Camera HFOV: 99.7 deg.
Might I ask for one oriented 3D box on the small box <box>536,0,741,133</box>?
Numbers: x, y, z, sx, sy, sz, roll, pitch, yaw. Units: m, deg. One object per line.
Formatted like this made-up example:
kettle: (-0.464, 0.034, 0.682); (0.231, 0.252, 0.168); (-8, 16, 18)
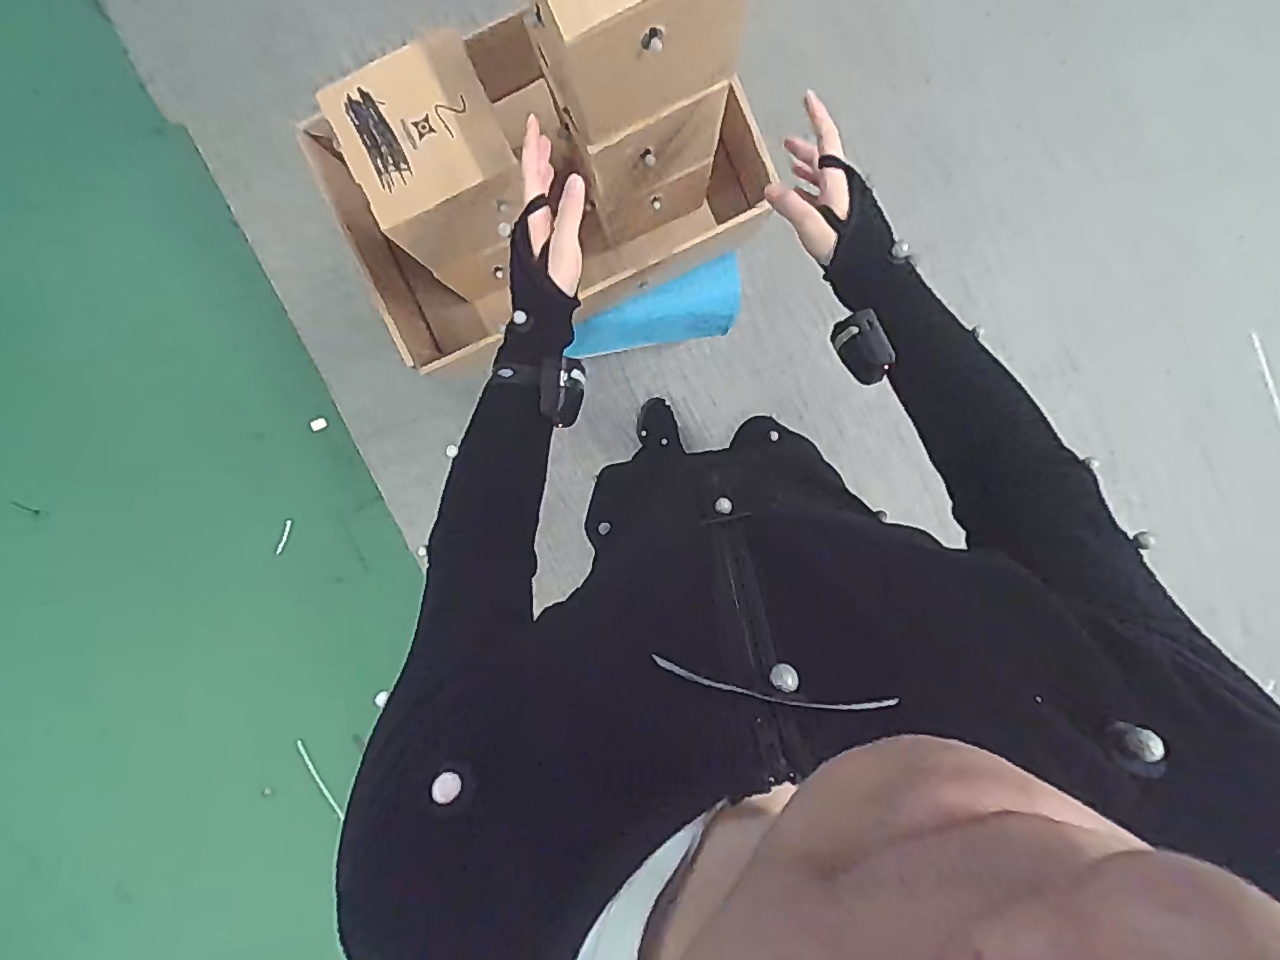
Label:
small box: (-0.011, -0.472, 0.505); (0.179, 0.176, 0.168); (-23, 96, 5)

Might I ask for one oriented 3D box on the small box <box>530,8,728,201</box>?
small box: (-0.006, -0.483, 0.670); (0.179, 0.176, 0.168); (-24, 96, 6)
